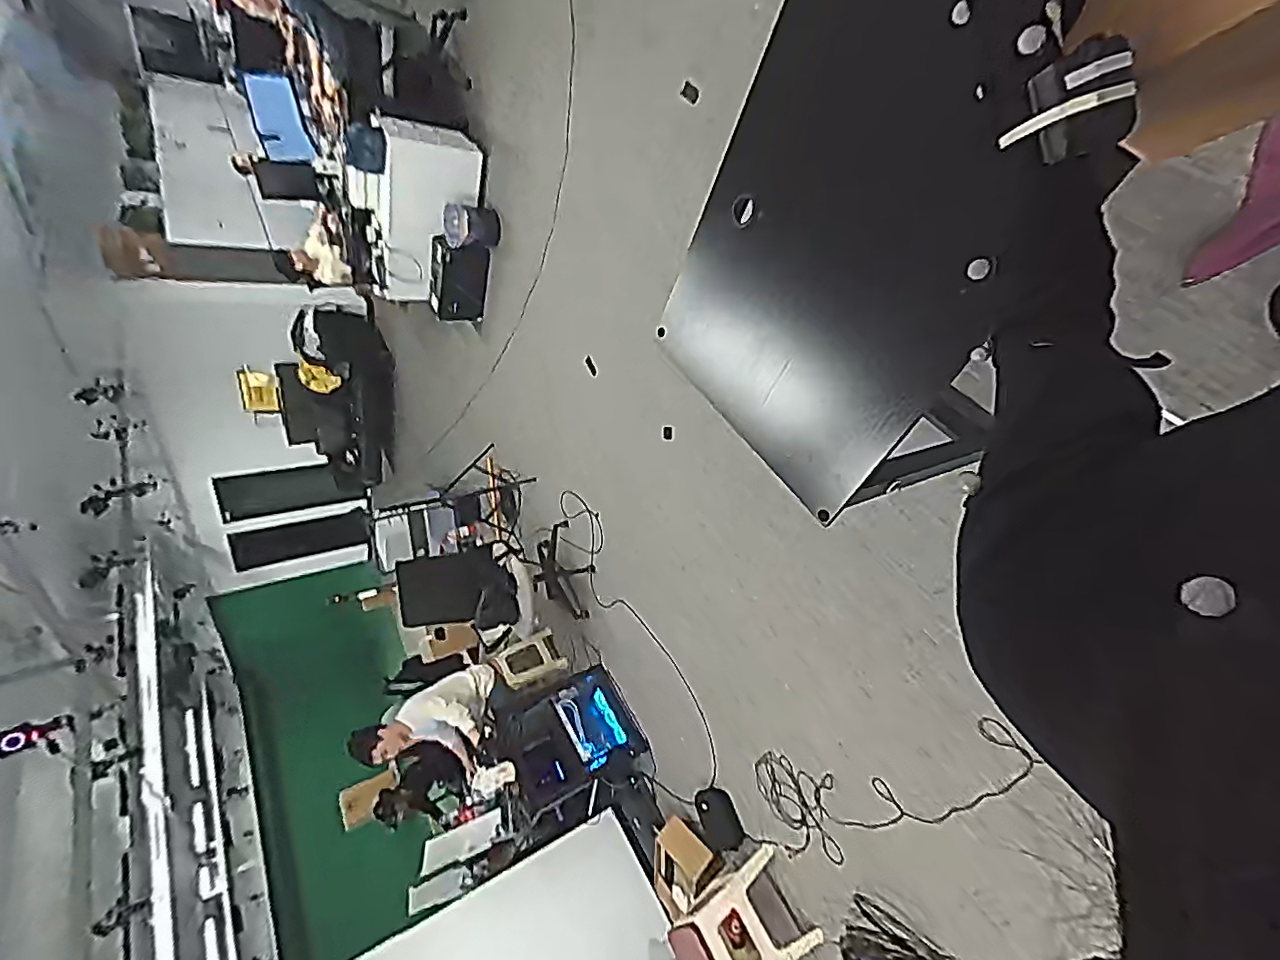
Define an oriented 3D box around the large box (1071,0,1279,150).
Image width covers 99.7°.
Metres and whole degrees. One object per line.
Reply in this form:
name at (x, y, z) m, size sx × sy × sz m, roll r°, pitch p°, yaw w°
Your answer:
large box at (0.513, -0.480, 0.314) m, size 0.408 × 0.320 × 0.320 m, roll -11°, pitch 95°, yaw 52°
